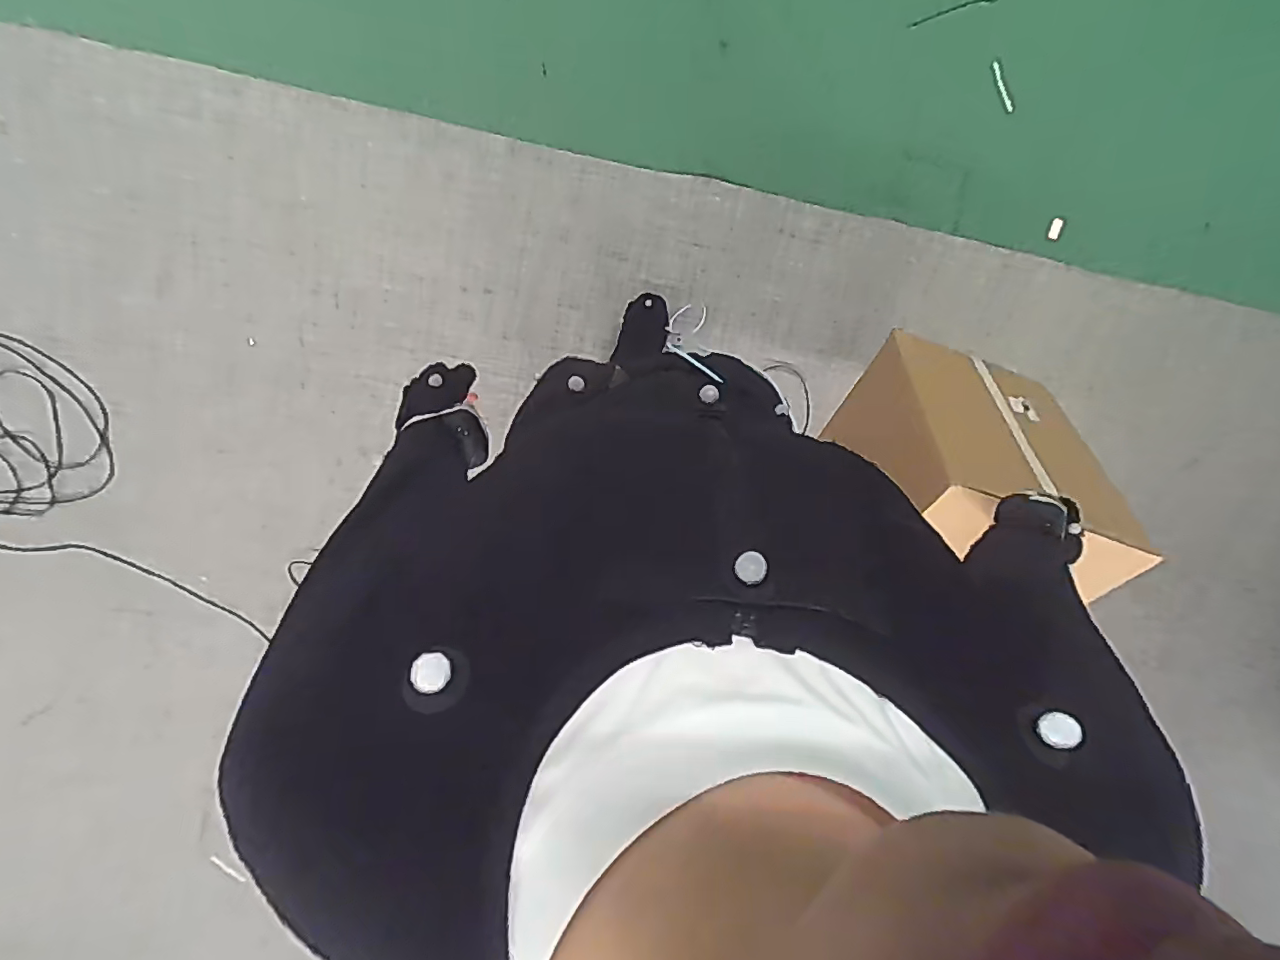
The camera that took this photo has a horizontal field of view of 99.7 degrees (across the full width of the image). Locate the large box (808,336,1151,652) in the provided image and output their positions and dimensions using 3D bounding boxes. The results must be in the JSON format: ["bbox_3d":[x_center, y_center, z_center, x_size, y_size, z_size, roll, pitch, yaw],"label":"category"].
[{"bbox_3d":[0.517,0.021,0.940,0.320,0.408,0.320,19,133,-6],"label":"large box"}]
